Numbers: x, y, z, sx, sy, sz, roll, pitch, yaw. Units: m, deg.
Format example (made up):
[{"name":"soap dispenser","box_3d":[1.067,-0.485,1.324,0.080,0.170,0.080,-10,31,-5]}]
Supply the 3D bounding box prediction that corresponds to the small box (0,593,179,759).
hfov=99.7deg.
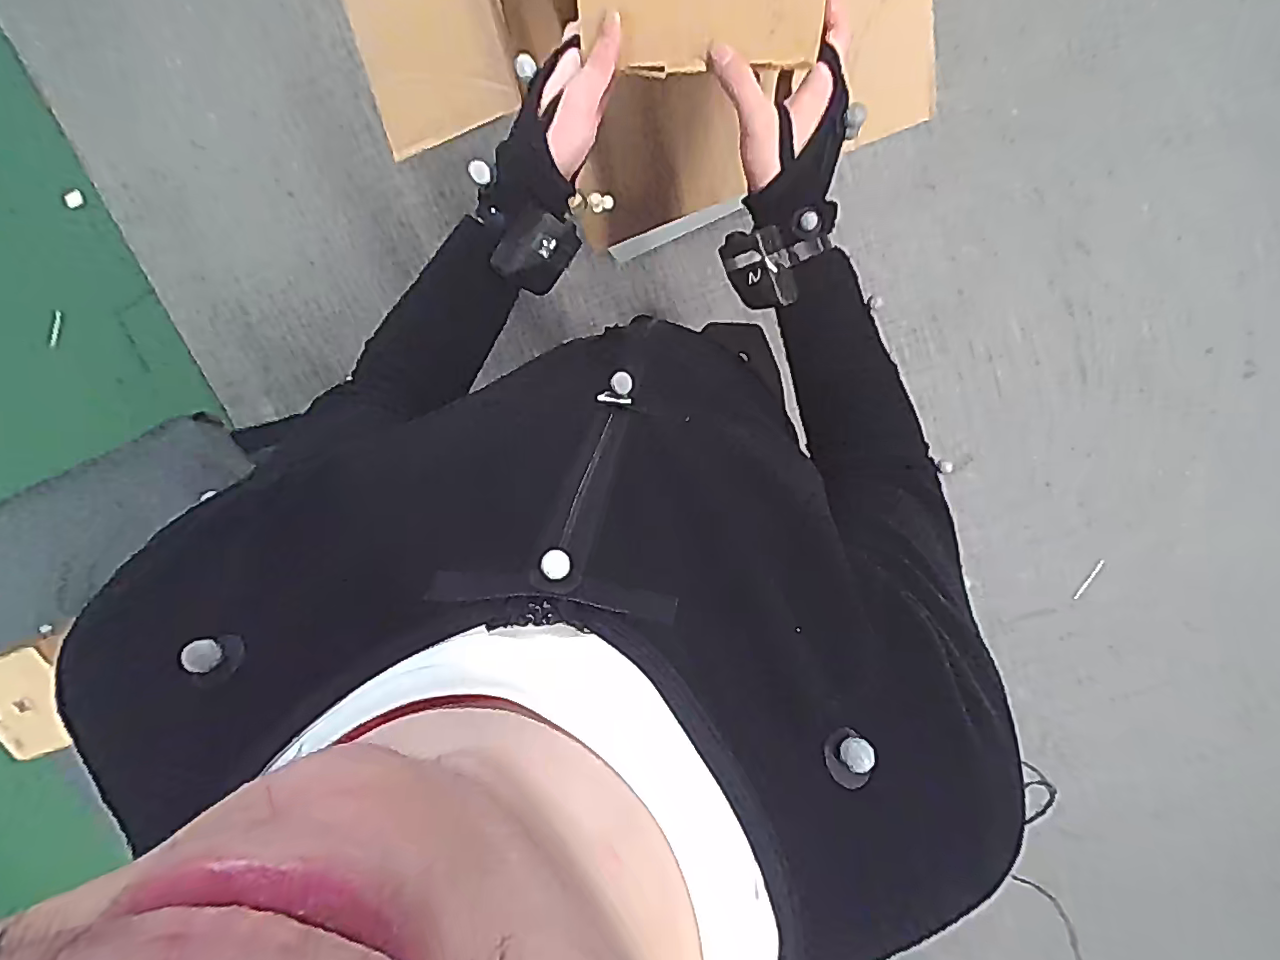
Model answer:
[{"name":"small box","box_3d":[-0.917,0.309,0.885,0.179,0.176,0.168,-20,105,7]}]

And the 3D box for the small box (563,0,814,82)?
[{"name":"small box","box_3d":[0.044,-0.393,0.375,0.168,0.176,0.179,5,129,10]}]
